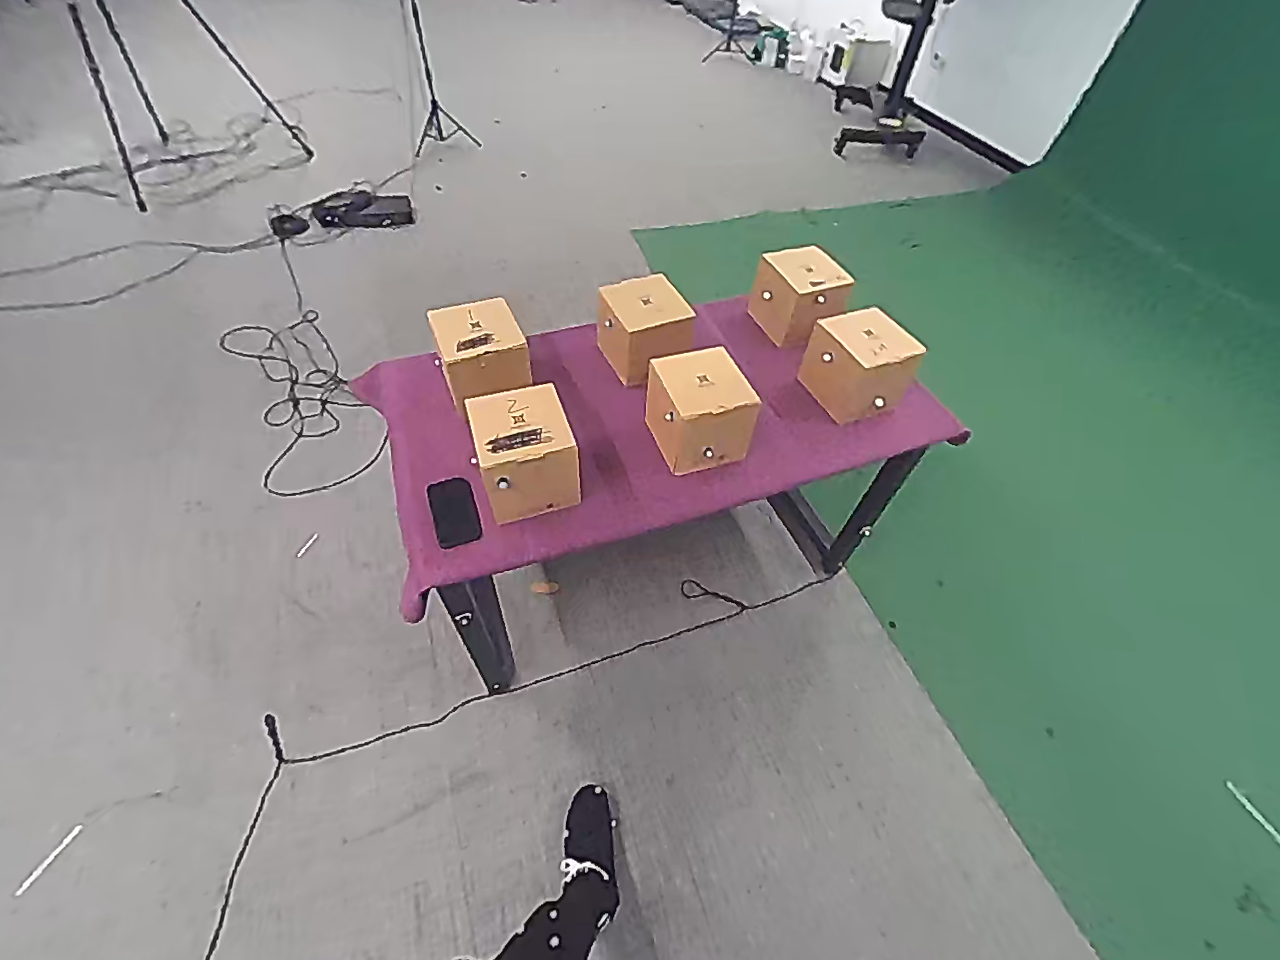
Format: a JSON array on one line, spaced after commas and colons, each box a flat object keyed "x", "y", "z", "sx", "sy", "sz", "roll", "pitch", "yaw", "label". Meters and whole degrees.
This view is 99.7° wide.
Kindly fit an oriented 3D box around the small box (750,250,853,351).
[{"x": 0.403, "y": -0.459, "z": 1.387, "sx": 0.168, "sy": 0.176, "sz": 0.179, "roll": -17, "pitch": 55, "yaw": -16, "label": "small box"}]

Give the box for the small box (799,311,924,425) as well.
[{"x": 0.490, "y": -0.253, "z": 1.228, "sx": 0.168, "sy": 0.176, "sz": 0.179, "roll": -16, "pitch": 54, "yaw": -16, "label": "small box"}]

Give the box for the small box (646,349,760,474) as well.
[{"x": 0.118, "y": -0.140, "z": 1.112, "sx": 0.168, "sy": 0.176, "sz": 0.179, "roll": -13, "pitch": 54, "yaw": -15, "label": "small box"}]

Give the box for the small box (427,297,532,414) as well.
[{"x": -0.340, "y": -0.262, "z": 1.166, "sx": 0.168, "sy": 0.176, "sz": 0.179, "roll": -18, "pitch": 55, "yaw": -18, "label": "small box"}]

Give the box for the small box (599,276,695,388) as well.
[{"x": 0.008, "y": -0.346, "z": 1.265, "sx": 0.168, "sy": 0.176, "sz": 0.179, "roll": -18, "pitch": 56, "yaw": -17, "label": "small box"}]
